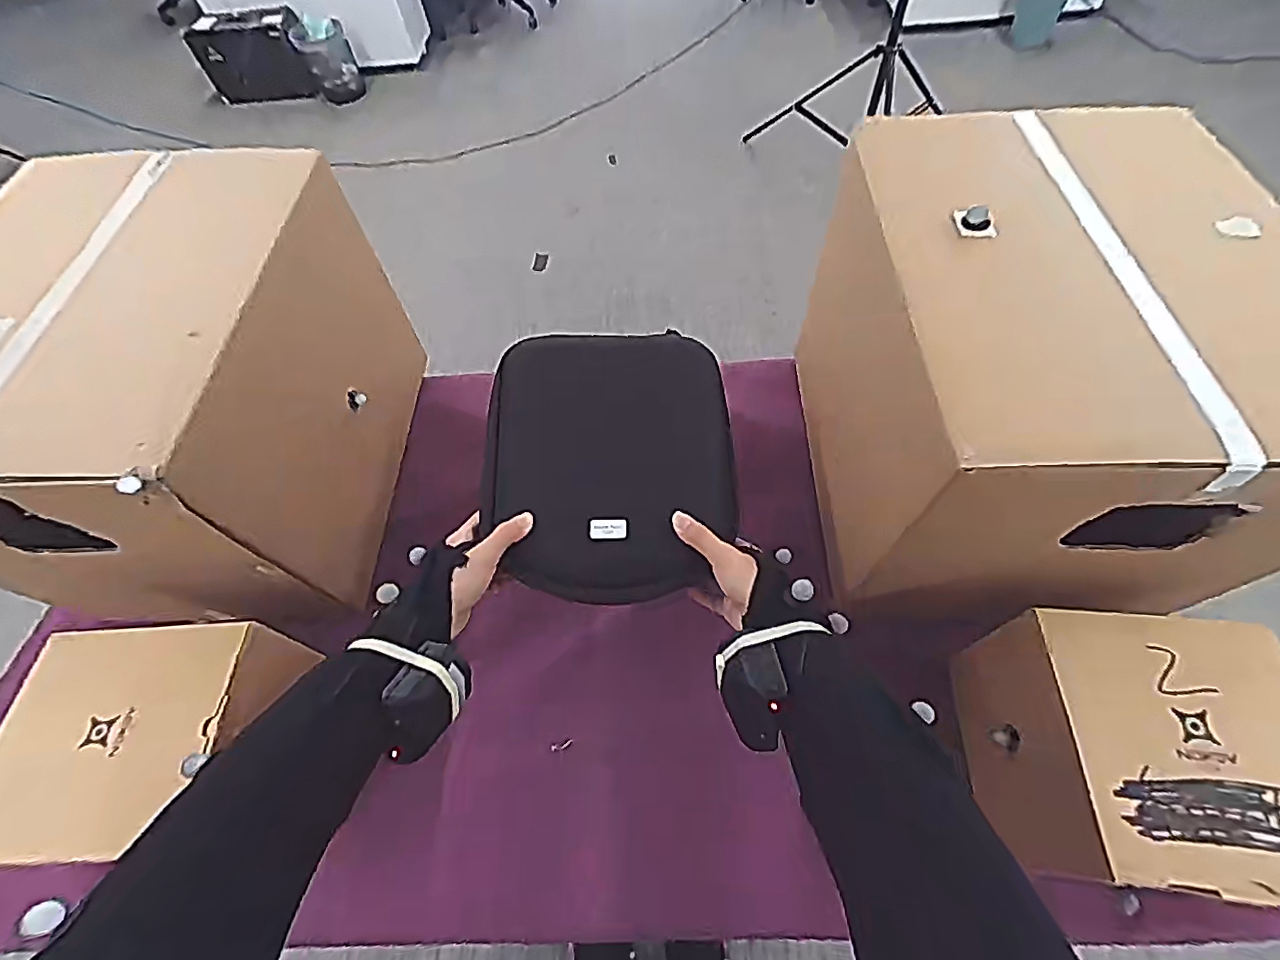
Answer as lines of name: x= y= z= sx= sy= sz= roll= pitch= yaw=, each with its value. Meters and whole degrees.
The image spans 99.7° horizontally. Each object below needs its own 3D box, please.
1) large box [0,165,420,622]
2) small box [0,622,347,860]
large box: x=-0.475 y=-0.082 z=0.603 sx=0.320 sy=0.320 sz=0.408 roll=-3 pitch=61 yaw=1
small box: x=-0.405 y=0.238 z=0.485 sx=0.179 sy=0.176 sz=0.168 roll=-4 pitch=57 yaw=1
